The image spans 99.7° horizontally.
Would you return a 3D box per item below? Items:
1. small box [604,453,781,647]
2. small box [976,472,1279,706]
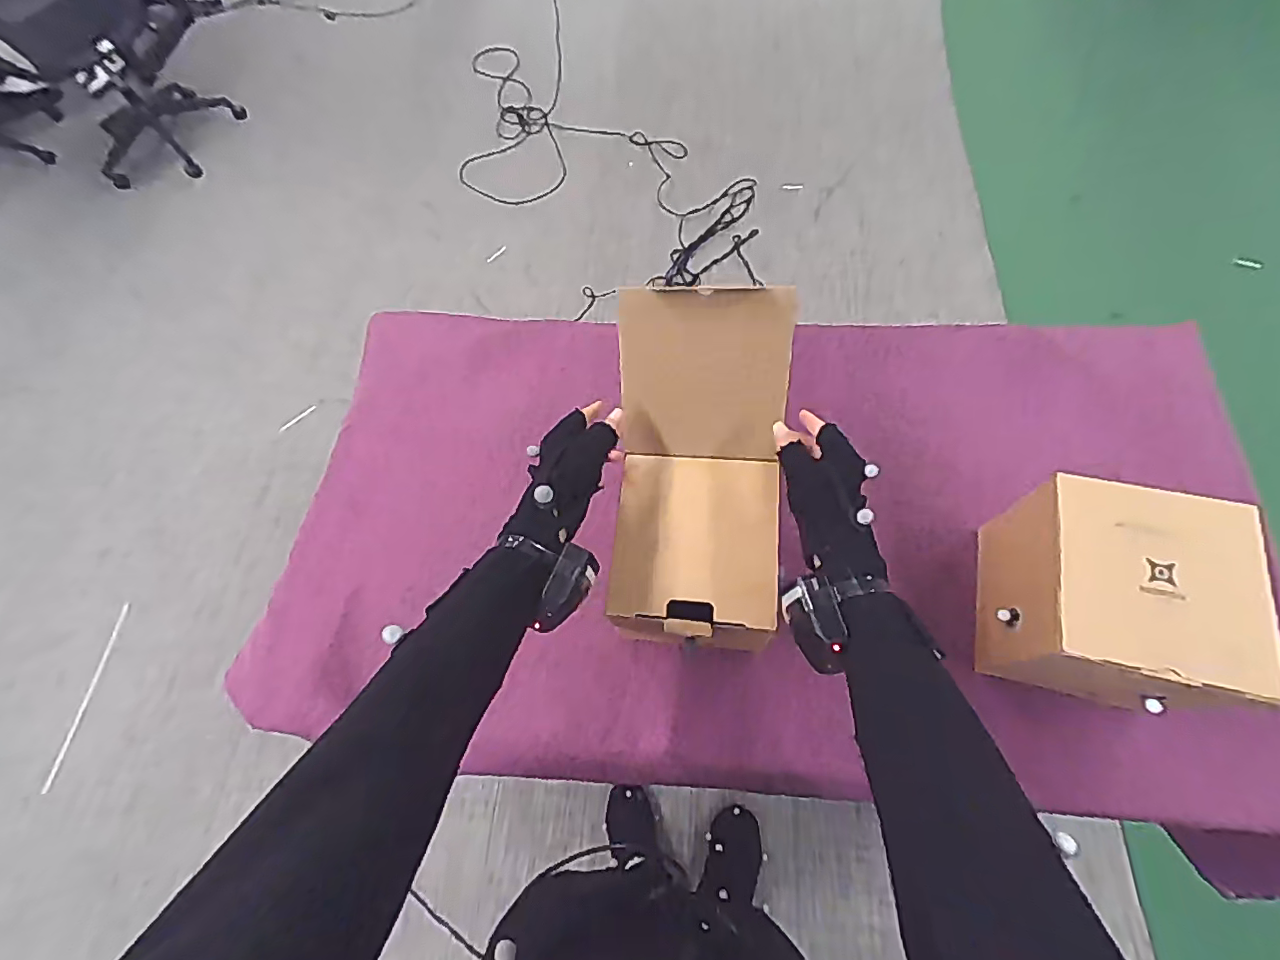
[{"bbox_3d":[0.064,0.086,0.608,0.168,0.176,0.179,3,67,8],"label":"small box"},{"bbox_3d":[0.464,0.117,0.544,0.168,0.176,0.179,12,67,12],"label":"small box"}]
